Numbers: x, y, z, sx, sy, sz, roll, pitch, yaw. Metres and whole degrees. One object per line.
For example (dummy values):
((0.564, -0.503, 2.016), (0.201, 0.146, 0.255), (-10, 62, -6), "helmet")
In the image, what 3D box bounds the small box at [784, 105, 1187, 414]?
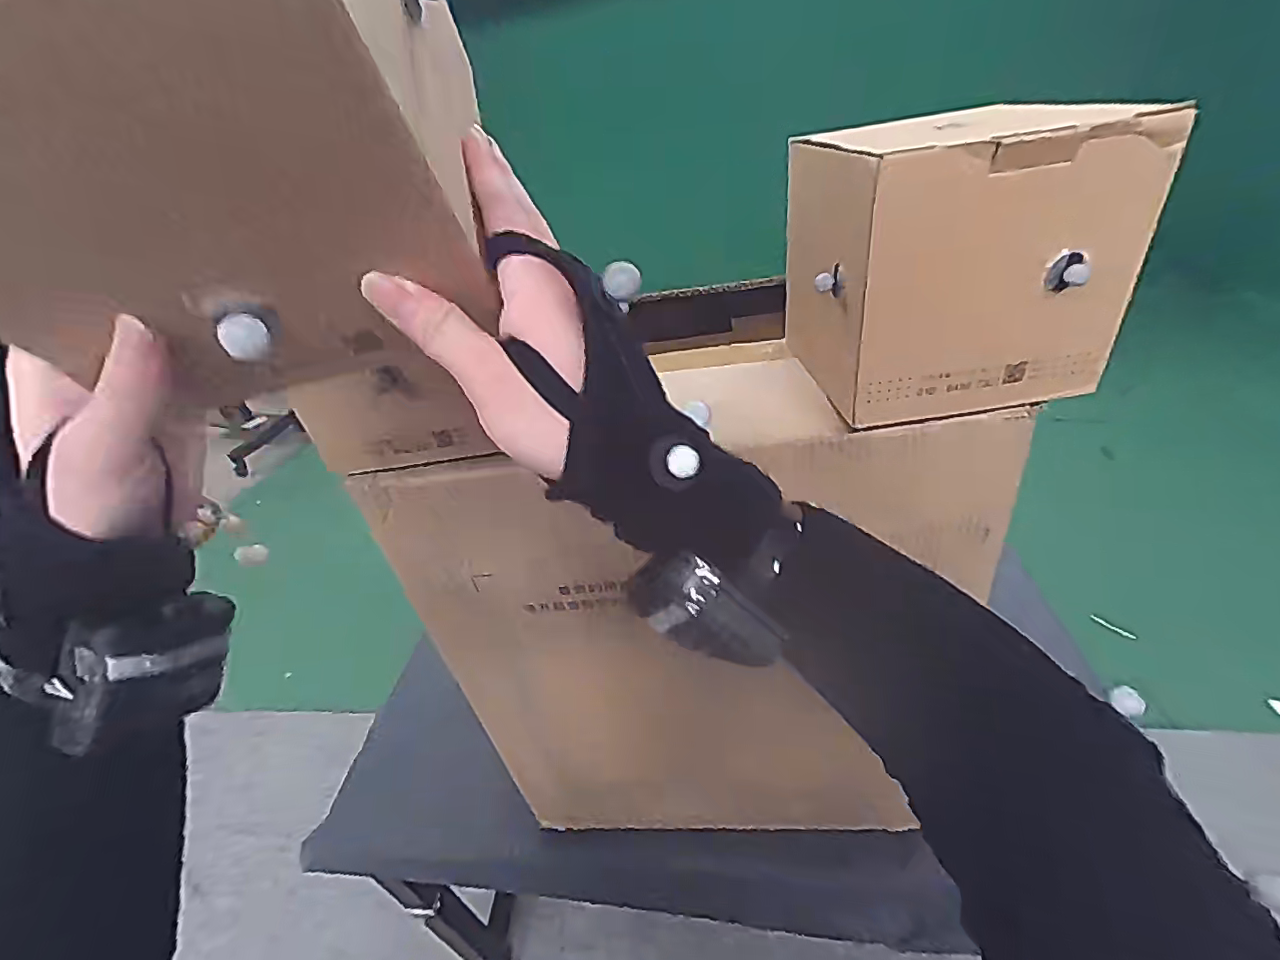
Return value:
((0.208, -0.156, 0.392), (0.168, 0.176, 0.179), (-7, 34, 1), "small box")

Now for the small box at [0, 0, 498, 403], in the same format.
((-0.164, -0.153, 0.196), (0.168, 0.176, 0.179), (-13, 73, 1), "small box")

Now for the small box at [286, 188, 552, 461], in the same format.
((-0.183, -0.127, 0.459), (0.168, 0.176, 0.179), (-8, 35, 6), "small box")
